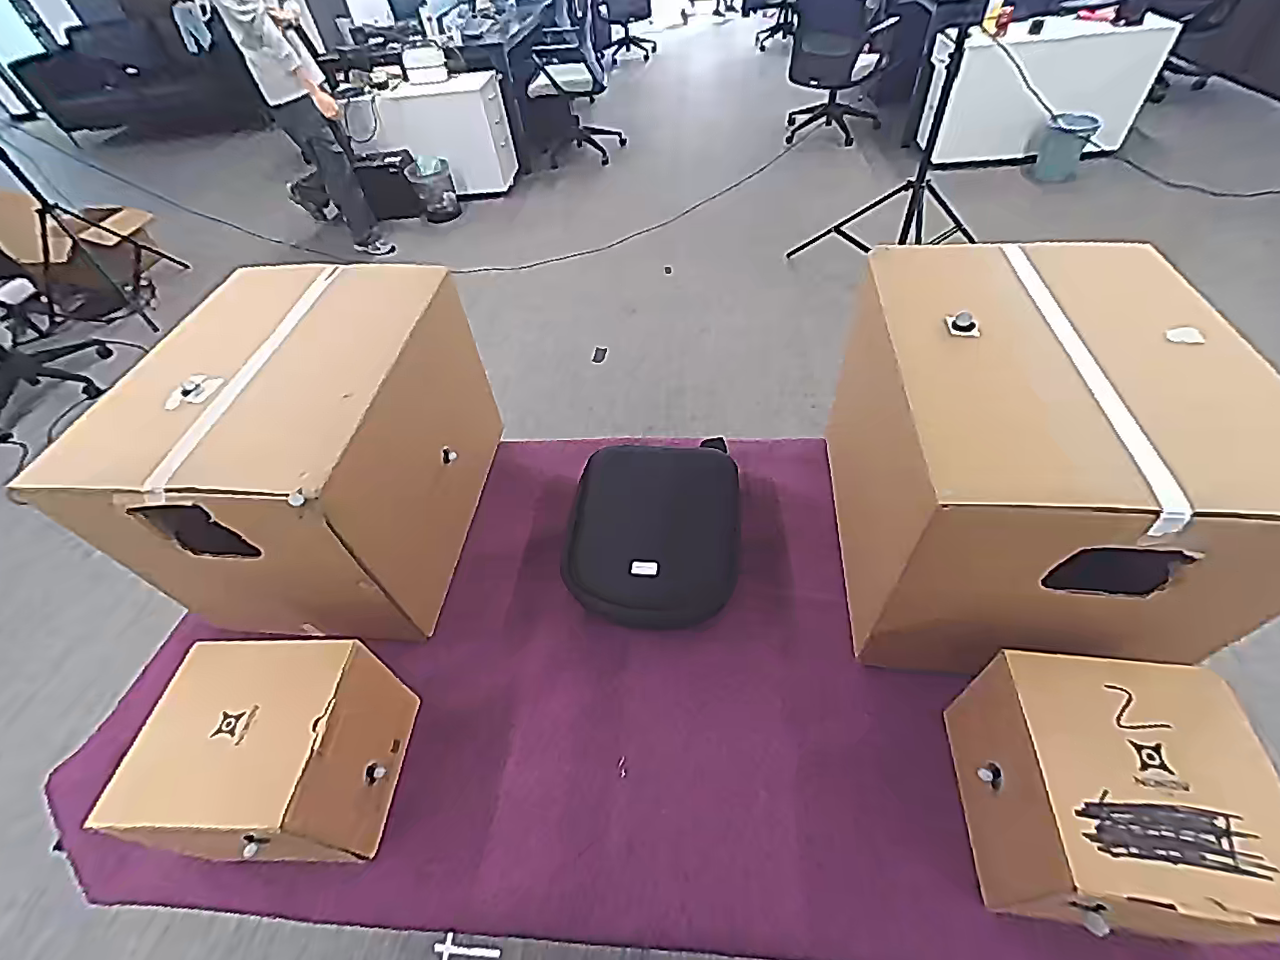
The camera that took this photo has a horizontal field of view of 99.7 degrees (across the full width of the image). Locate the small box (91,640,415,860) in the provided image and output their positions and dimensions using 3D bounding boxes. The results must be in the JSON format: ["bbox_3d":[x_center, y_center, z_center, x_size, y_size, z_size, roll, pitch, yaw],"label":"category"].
[{"bbox_3d":[-0.366,0.281,0.557,0.179,0.176,0.168,-2,47,3],"label":"small box"}]

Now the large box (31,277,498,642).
[{"bbox_3d":[-0.417,-0.032,0.744,0.320,0.320,0.408,0,51,5],"label":"large box"}]
